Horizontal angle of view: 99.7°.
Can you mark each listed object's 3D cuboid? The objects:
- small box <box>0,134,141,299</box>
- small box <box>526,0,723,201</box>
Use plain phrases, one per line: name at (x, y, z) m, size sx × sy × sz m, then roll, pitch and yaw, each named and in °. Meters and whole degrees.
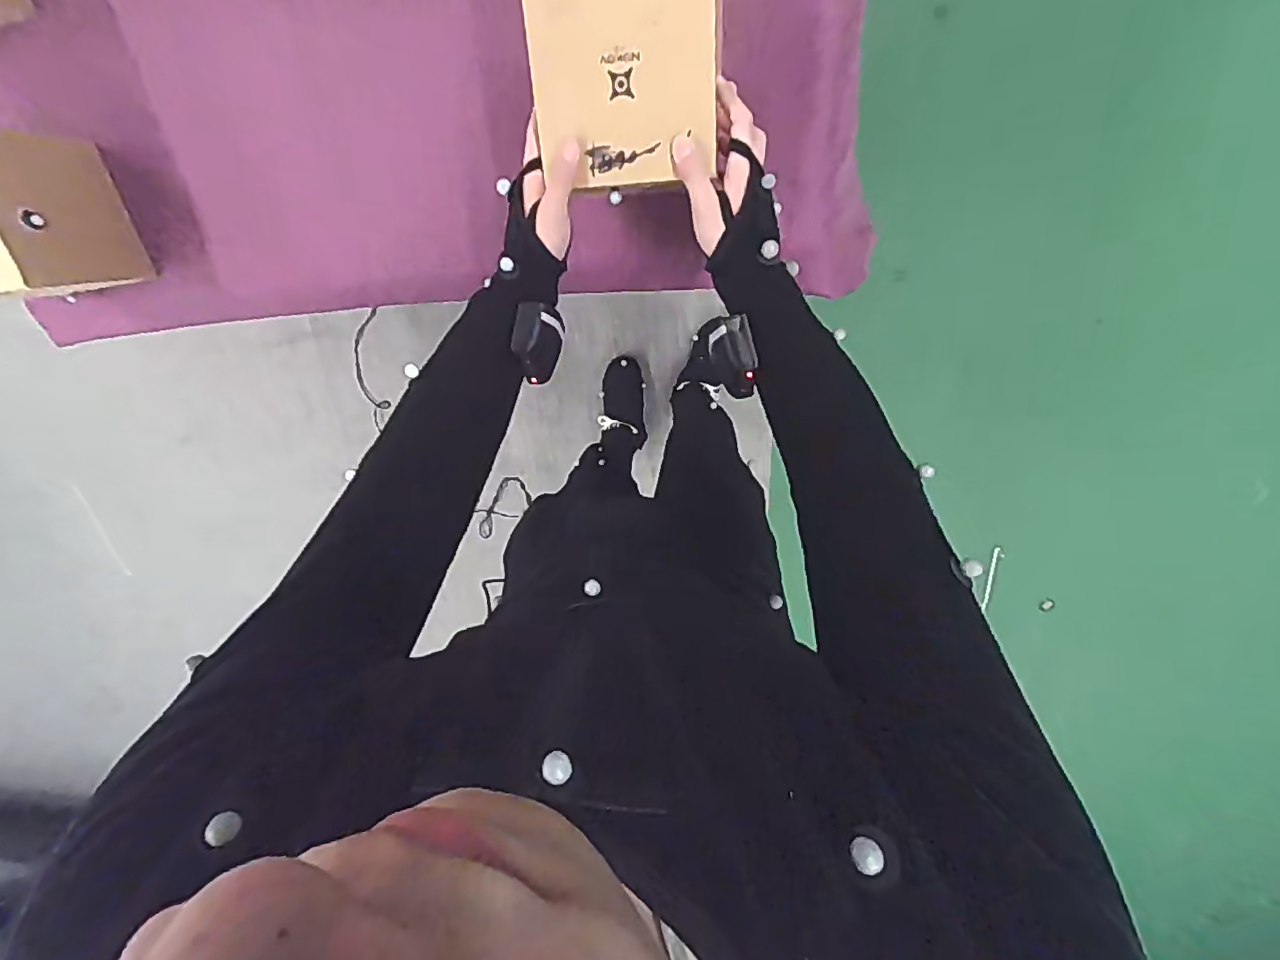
small box at (-0.810, -0.330, 0.689) m, size 0.168 × 0.176 × 0.179 m, roll -5°, pitch 114°, yaw 10°
small box at (-0.003, -0.386, 0.541) m, size 0.168 × 0.176 × 0.179 m, roll 1°, pitch 115°, yaw 9°
